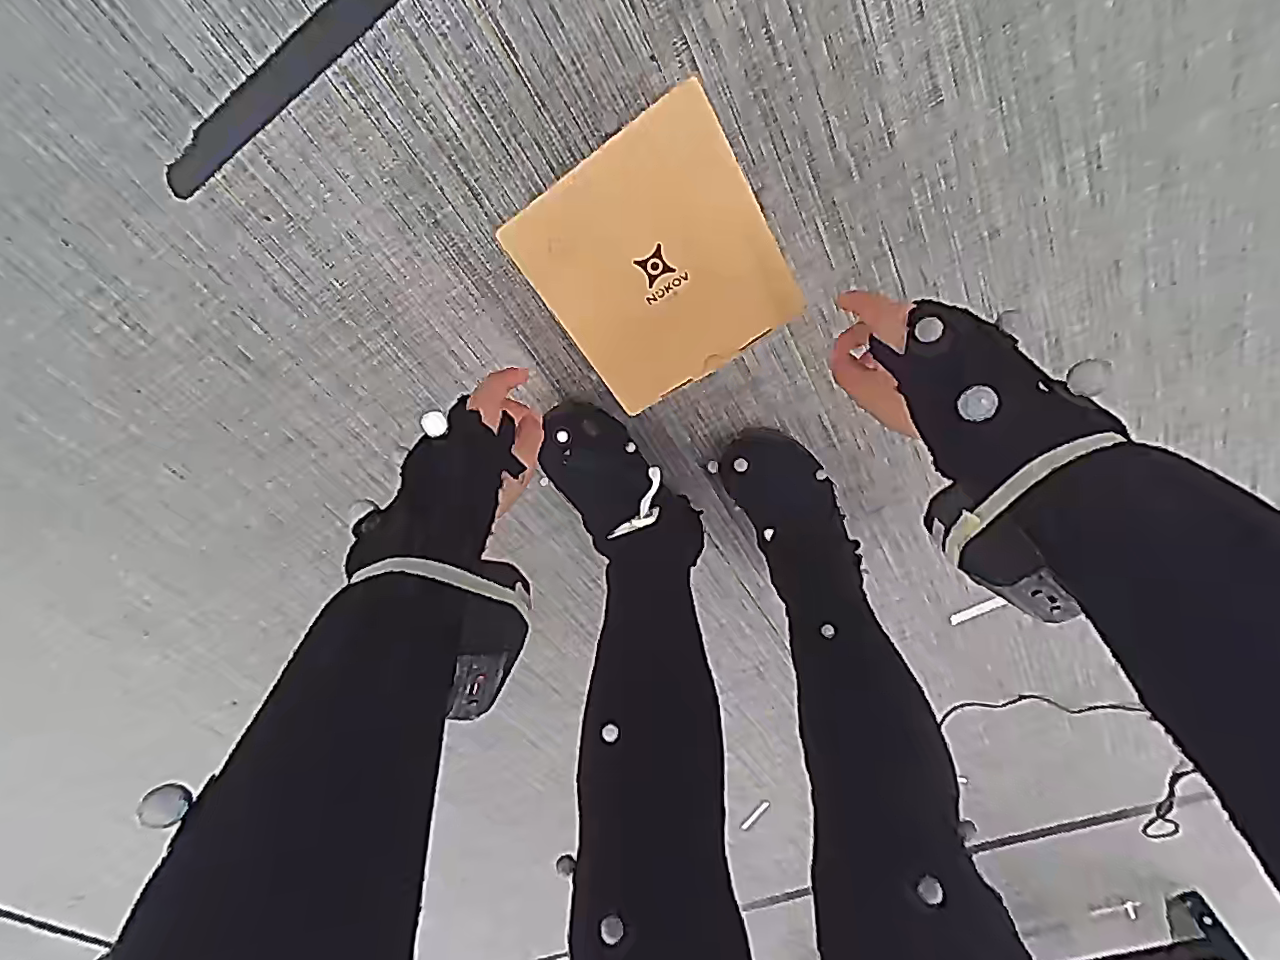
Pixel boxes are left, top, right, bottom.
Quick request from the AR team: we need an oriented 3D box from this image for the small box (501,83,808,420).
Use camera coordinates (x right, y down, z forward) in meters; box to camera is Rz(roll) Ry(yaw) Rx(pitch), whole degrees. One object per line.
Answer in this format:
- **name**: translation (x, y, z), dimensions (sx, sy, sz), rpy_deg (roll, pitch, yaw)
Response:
- **small box**: translation (0.012, -0.190, 0.459), dimensions (0.168, 0.176, 0.179), rpy_deg (-30, 120, 16)
